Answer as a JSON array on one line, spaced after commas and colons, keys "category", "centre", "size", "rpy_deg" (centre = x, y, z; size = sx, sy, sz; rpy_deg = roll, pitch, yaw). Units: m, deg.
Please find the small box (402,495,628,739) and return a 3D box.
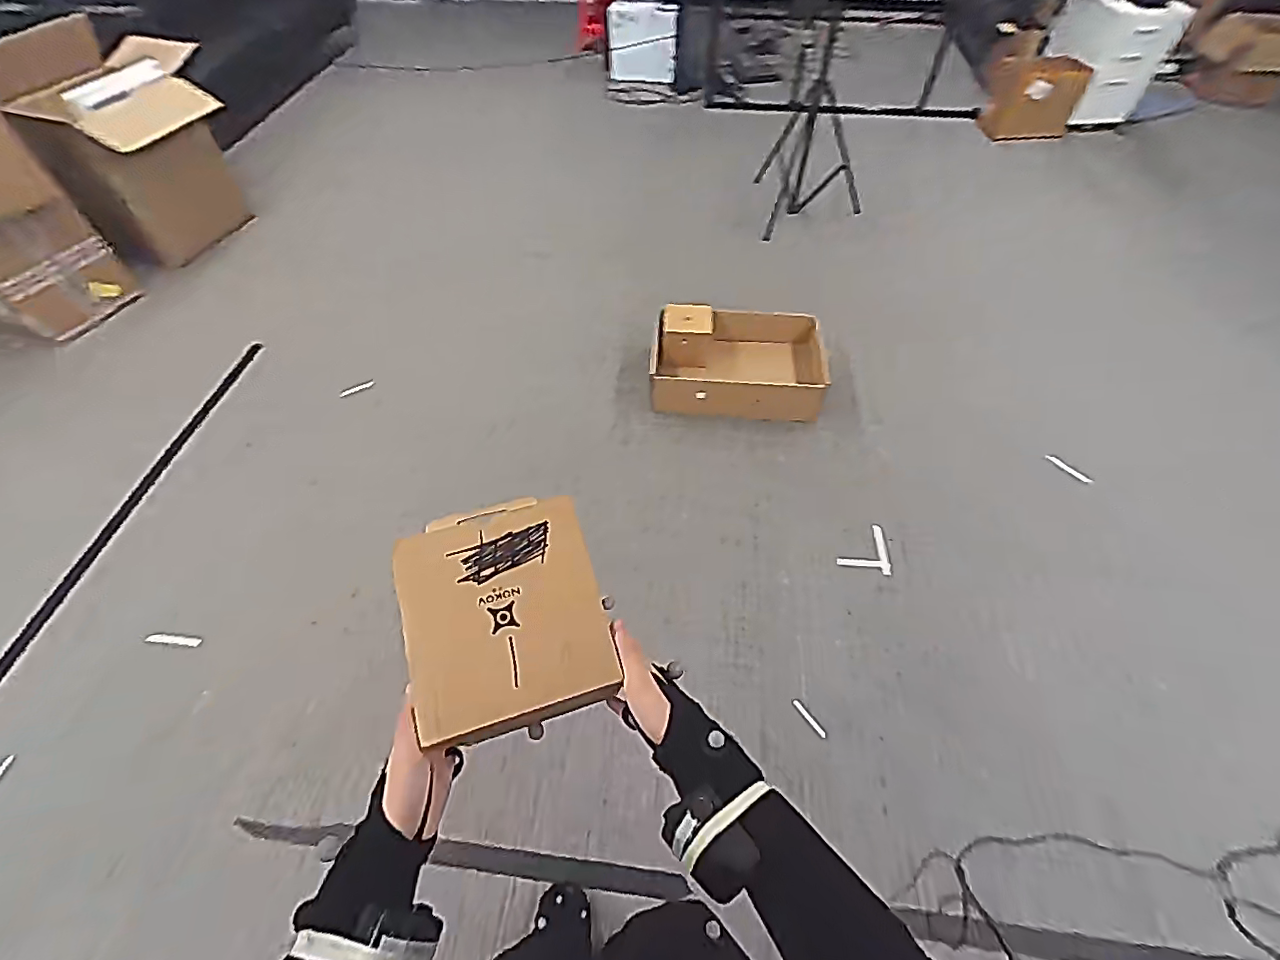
[{"category": "small box", "centre": [-0.116, 0.141, 0.531], "size": [0.168, 0.176, 0.179], "rpy_deg": [-14, 67, -11]}]
